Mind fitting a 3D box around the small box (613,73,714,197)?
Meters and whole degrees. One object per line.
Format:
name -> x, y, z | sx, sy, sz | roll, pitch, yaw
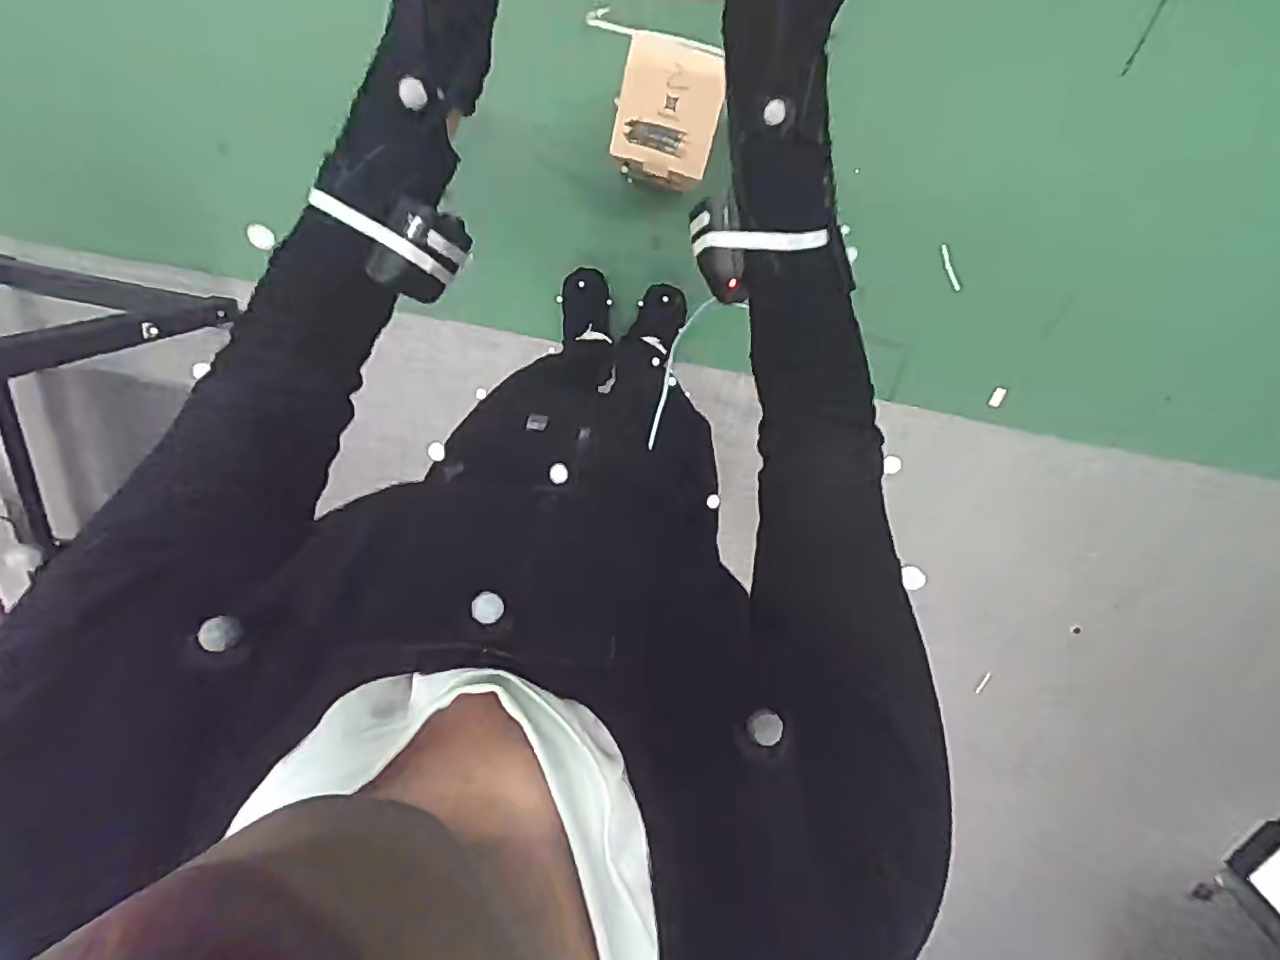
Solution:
small box -> 0.044, -0.695, 1.111 | 0.168, 0.176, 0.179 | 11, 116, -5
